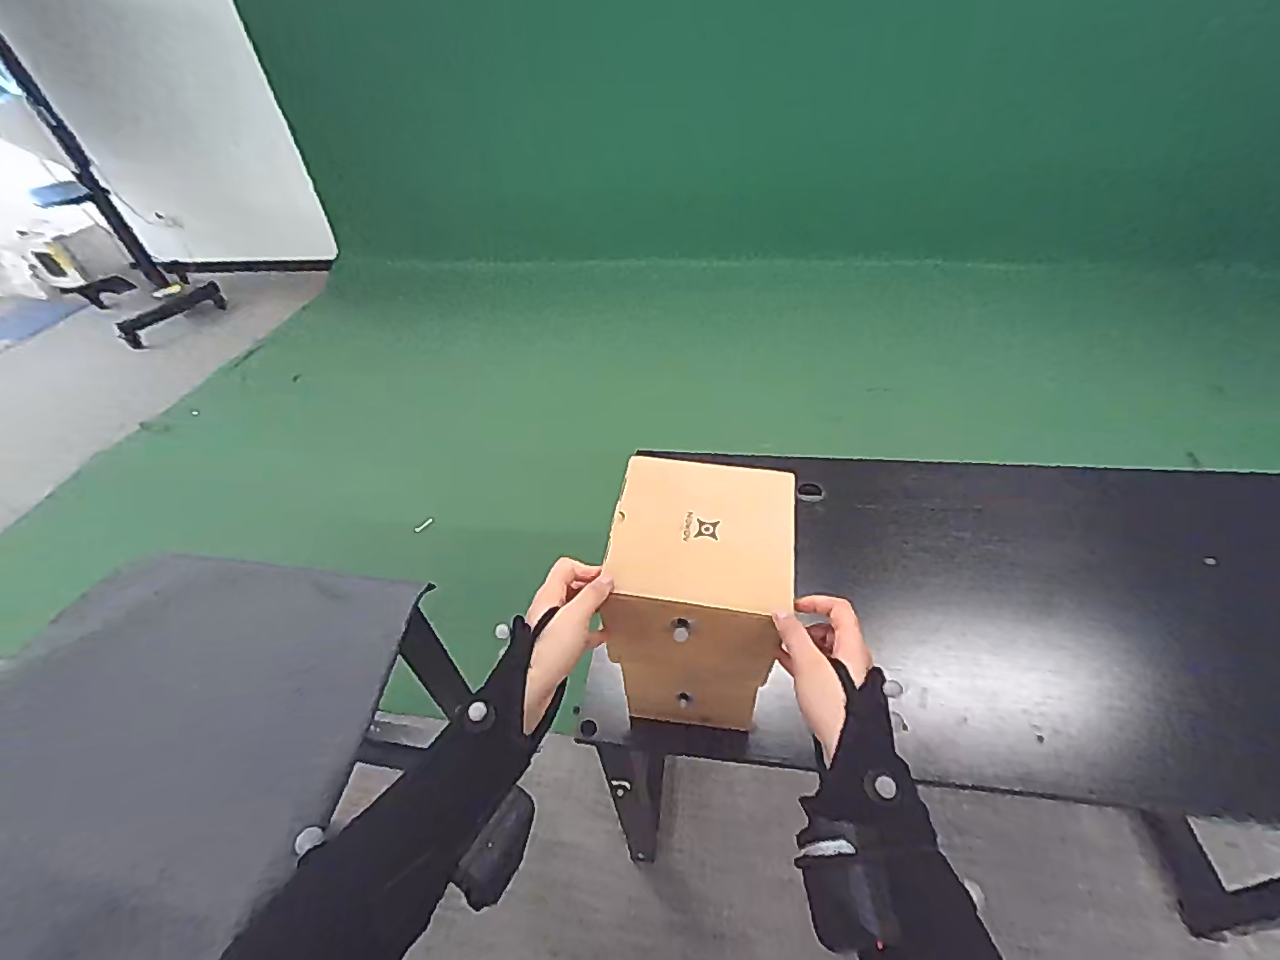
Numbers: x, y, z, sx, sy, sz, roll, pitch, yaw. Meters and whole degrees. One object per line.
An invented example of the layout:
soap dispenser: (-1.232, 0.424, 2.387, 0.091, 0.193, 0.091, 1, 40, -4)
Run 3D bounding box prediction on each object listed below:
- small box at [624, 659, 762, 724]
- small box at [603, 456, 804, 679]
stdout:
small box: (0.079, 0.207, 0.731, 0.168, 0.176, 0.179, 4, 44, 8)
small box: (0.069, 0.098, 0.578, 0.179, 0.176, 0.168, 6, 51, 8)
